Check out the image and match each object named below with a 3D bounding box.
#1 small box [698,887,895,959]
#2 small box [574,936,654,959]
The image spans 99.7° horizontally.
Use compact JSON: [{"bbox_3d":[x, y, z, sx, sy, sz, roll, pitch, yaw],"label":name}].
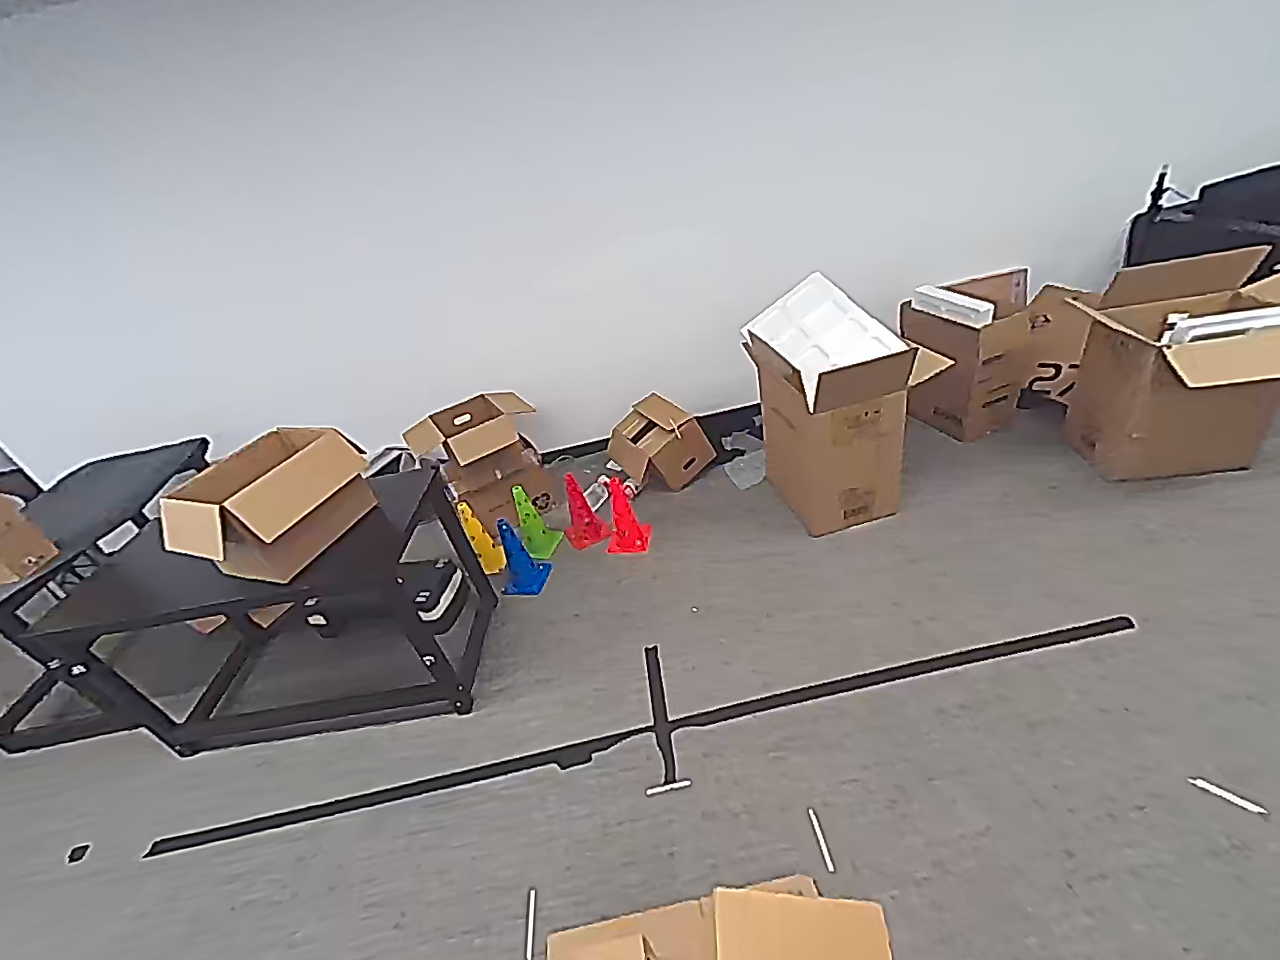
[{"bbox_3d":[0.152,0.538,0.537,0.179,0.176,0.168,5,37,0],"label":"small box"},{"bbox_3d":[-0.044,1.154,1.186,0.168,0.176,0.179,-15,33,0],"label":"small box"}]
